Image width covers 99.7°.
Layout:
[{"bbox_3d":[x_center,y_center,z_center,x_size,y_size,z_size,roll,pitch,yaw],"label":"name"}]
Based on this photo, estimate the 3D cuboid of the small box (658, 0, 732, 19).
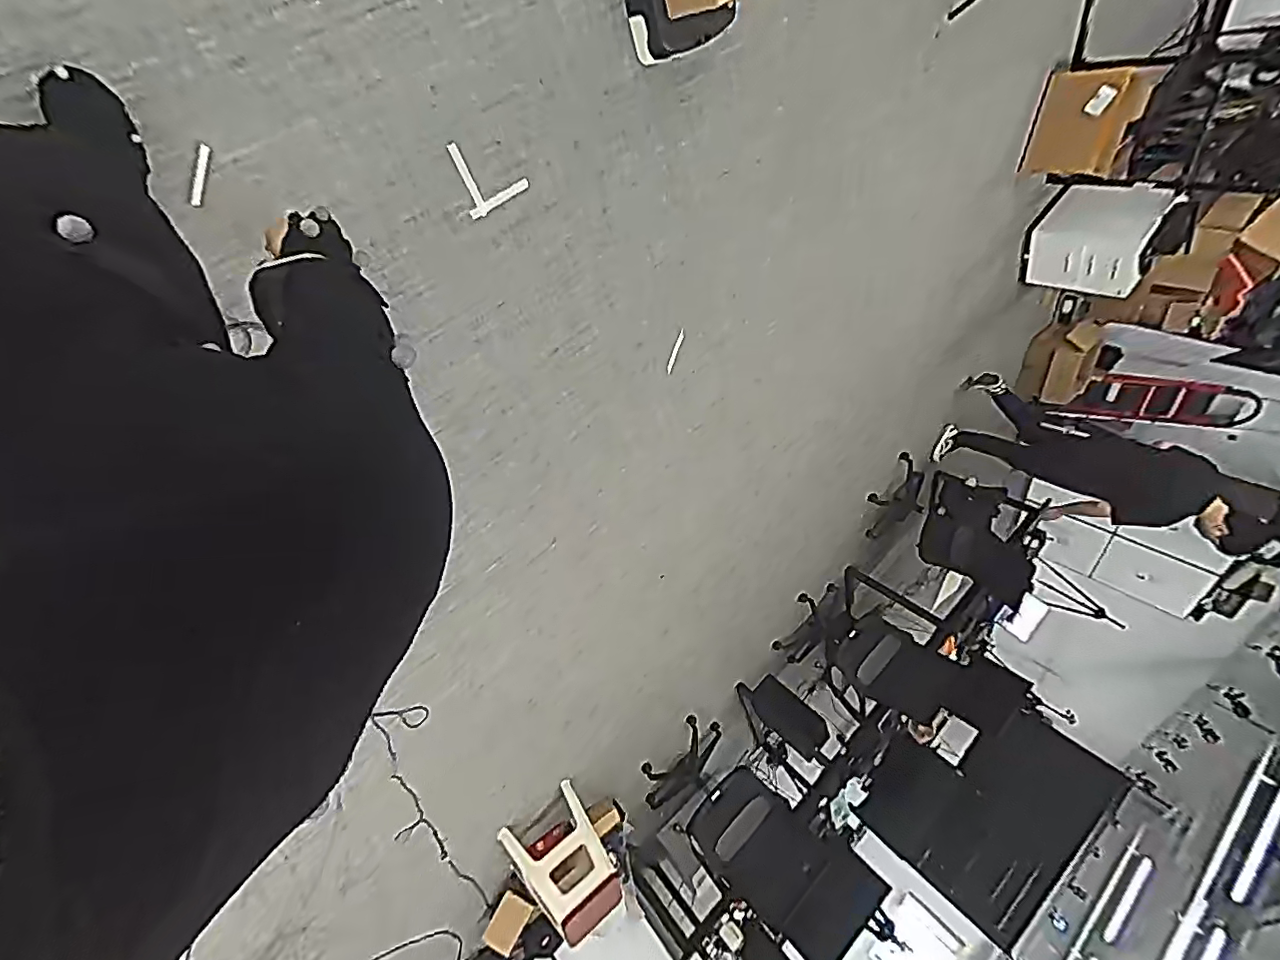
[{"bbox_3d":[0.146,-1.186,1.226,0.179,0.176,0.168,-41,137,-17],"label":"small box"}]
